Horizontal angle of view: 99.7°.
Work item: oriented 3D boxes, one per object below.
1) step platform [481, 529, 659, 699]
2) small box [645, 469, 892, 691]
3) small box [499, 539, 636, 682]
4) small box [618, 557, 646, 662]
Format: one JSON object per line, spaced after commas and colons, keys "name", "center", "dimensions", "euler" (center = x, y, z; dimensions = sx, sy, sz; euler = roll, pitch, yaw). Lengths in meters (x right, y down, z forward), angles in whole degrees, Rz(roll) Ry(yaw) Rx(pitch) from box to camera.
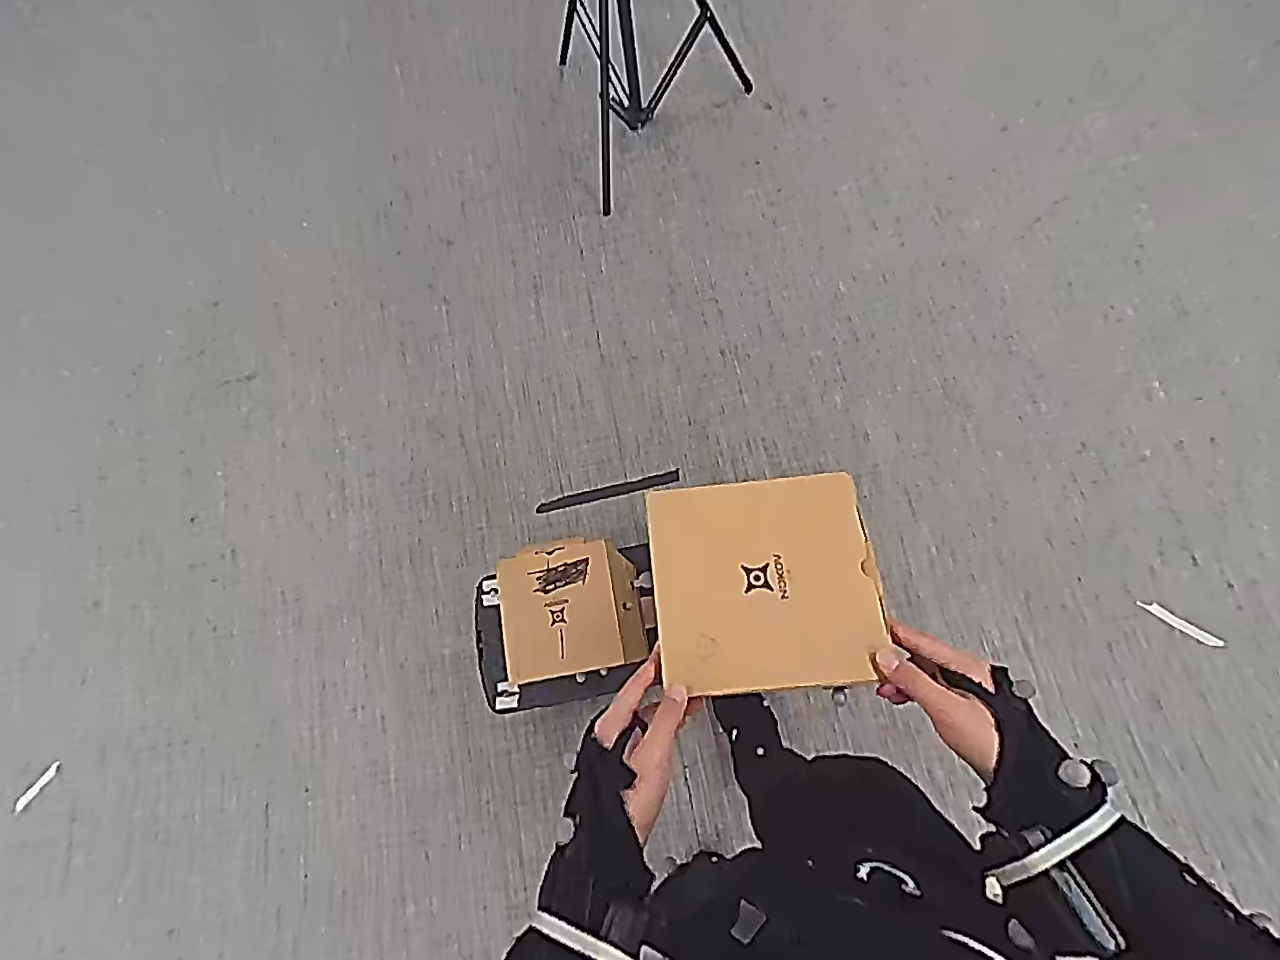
{"name": "step platform", "center": [0.011, 0.262, 1.159], "dimensions": [0.684, 0.204, 0.286], "euler": [-13, 73, 3]}
{"name": "small box", "center": [0.103, 0.104, 0.507], "dimensions": [0.179, 0.176, 0.168], "euler": [-6, 68, 2]}
{"name": "small box", "center": [-0.106, 0.203, 0.836], "dimensions": [0.168, 0.176, 0.179], "euler": [-11, 74, 3]}
{"name": "small box", "center": [-0.086, 0.250, 0.992], "dimensions": [0.168, 0.176, 0.179], "euler": [-10, 74, 3]}
